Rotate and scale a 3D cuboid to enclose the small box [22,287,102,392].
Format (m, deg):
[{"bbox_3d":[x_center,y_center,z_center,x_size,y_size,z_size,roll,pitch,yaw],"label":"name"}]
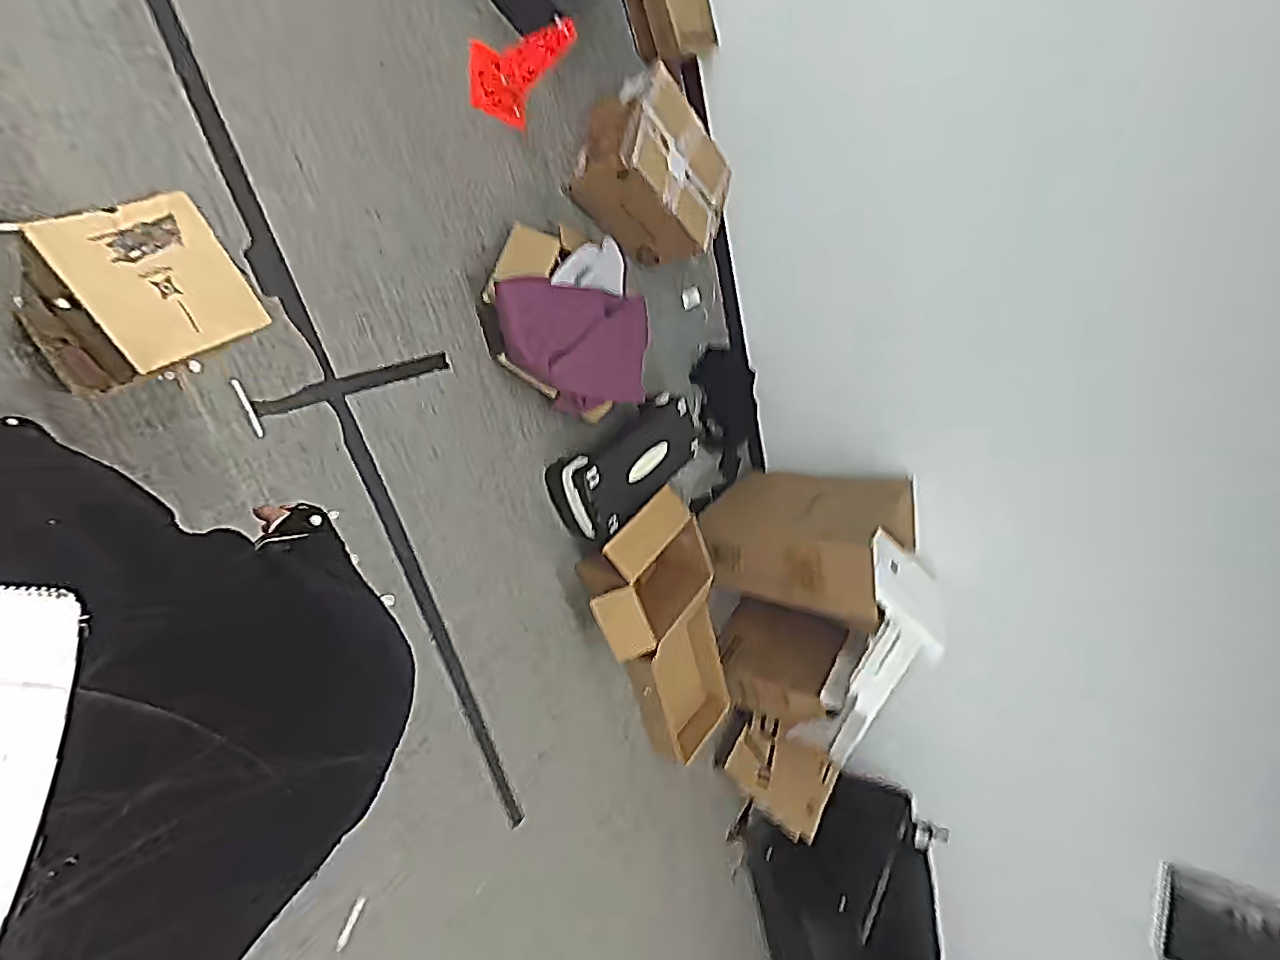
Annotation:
[{"bbox_3d":[-0.889,-0.262,0.924,0.179,0.176,0.168,-41,120,-39],"label":"small box"}]

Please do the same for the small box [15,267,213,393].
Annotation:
[{"bbox_3d":[-0.766,-0.242,0.817,0.179,0.176,0.168,-43,122,-38],"label":"small box"}]

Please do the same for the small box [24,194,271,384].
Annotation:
[{"bbox_3d":[-0.640,-0.242,0.708,0.168,0.176,0.179,-44,123,-38],"label":"small box"}]

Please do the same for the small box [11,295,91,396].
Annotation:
[{"bbox_3d":[-1.021,-0.266,1.024,0.179,0.176,0.168,-35,117,-40],"label":"small box"}]
